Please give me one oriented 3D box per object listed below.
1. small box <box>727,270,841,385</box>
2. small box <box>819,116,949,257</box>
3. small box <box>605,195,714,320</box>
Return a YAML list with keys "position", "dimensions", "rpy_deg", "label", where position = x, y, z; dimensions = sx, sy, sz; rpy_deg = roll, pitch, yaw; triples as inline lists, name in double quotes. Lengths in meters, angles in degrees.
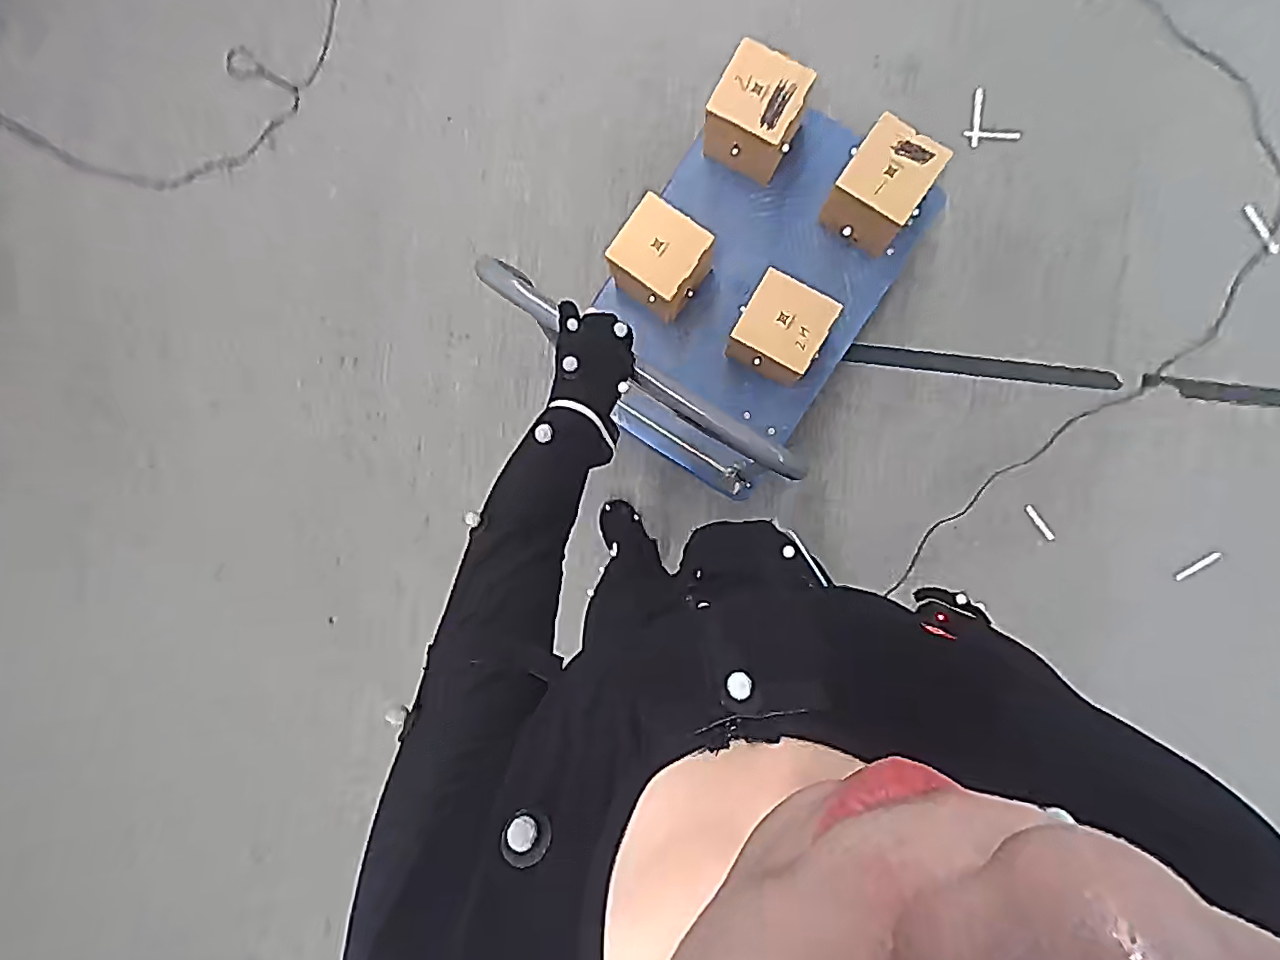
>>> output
- position: [0.307, -0.326, 1.201]
  dimensions: [0.179, 0.176, 0.168]
  rpy_deg: [30, 93, 4]
  label: "small box"
- position: [0.519, -0.629, 1.180]
  dimensions: [0.168, 0.176, 0.179]
  rpy_deg: [34, 94, 3]
  label: "small box"
- position: [0.044, -0.489, 1.221]
  dimensions: [0.179, 0.176, 0.168]
  rpy_deg: [36, 93, 2]
  label: "small box"
